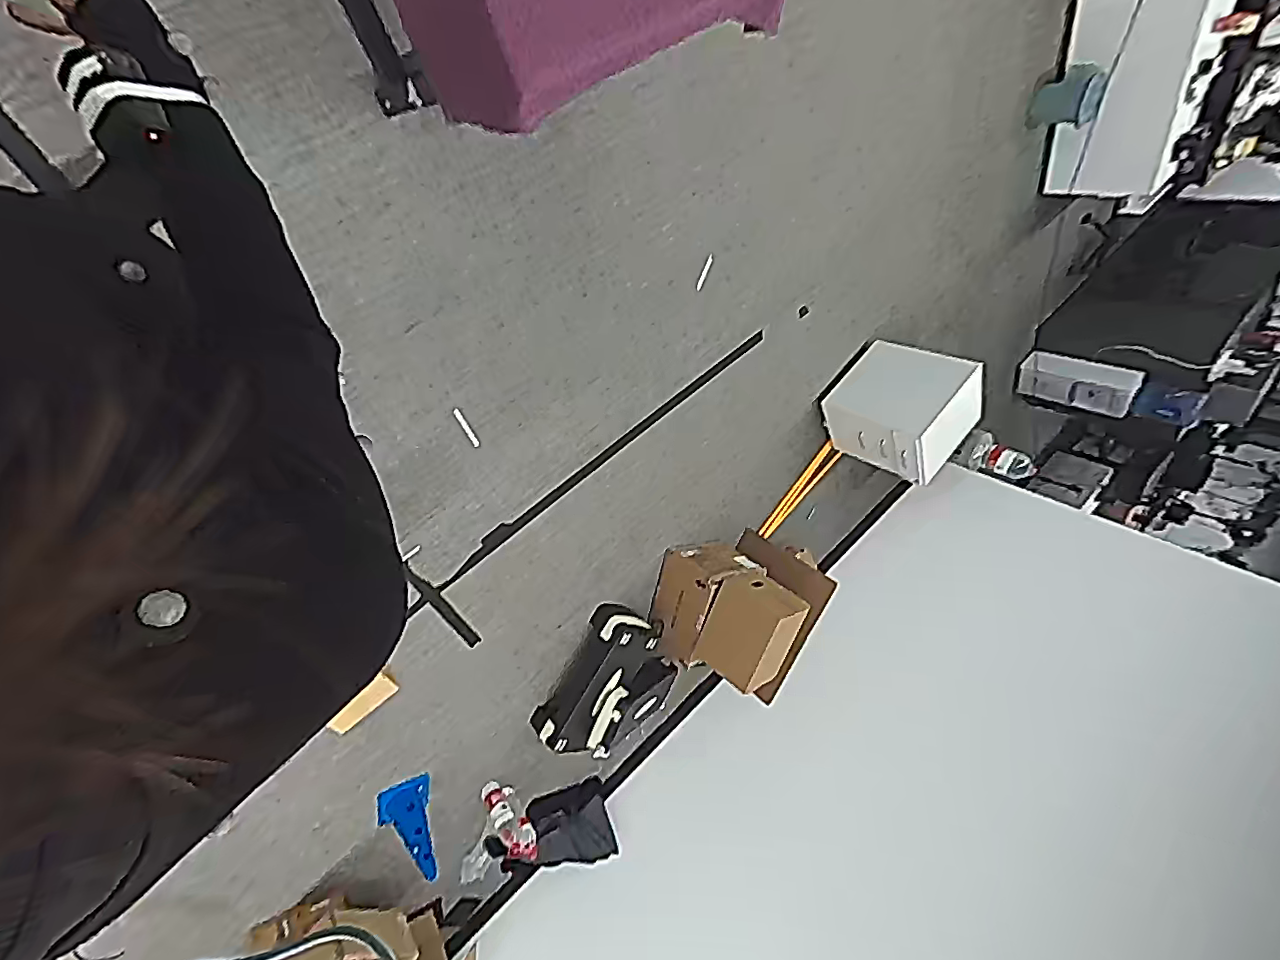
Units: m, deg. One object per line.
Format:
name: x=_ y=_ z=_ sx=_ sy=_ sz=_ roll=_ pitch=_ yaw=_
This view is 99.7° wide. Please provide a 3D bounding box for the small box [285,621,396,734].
small box: x=-0.752 y=0.490 z=1.358 sx=0.168 sy=0.176 sz=0.179 roll=-38 pitch=133 yaw=-18
